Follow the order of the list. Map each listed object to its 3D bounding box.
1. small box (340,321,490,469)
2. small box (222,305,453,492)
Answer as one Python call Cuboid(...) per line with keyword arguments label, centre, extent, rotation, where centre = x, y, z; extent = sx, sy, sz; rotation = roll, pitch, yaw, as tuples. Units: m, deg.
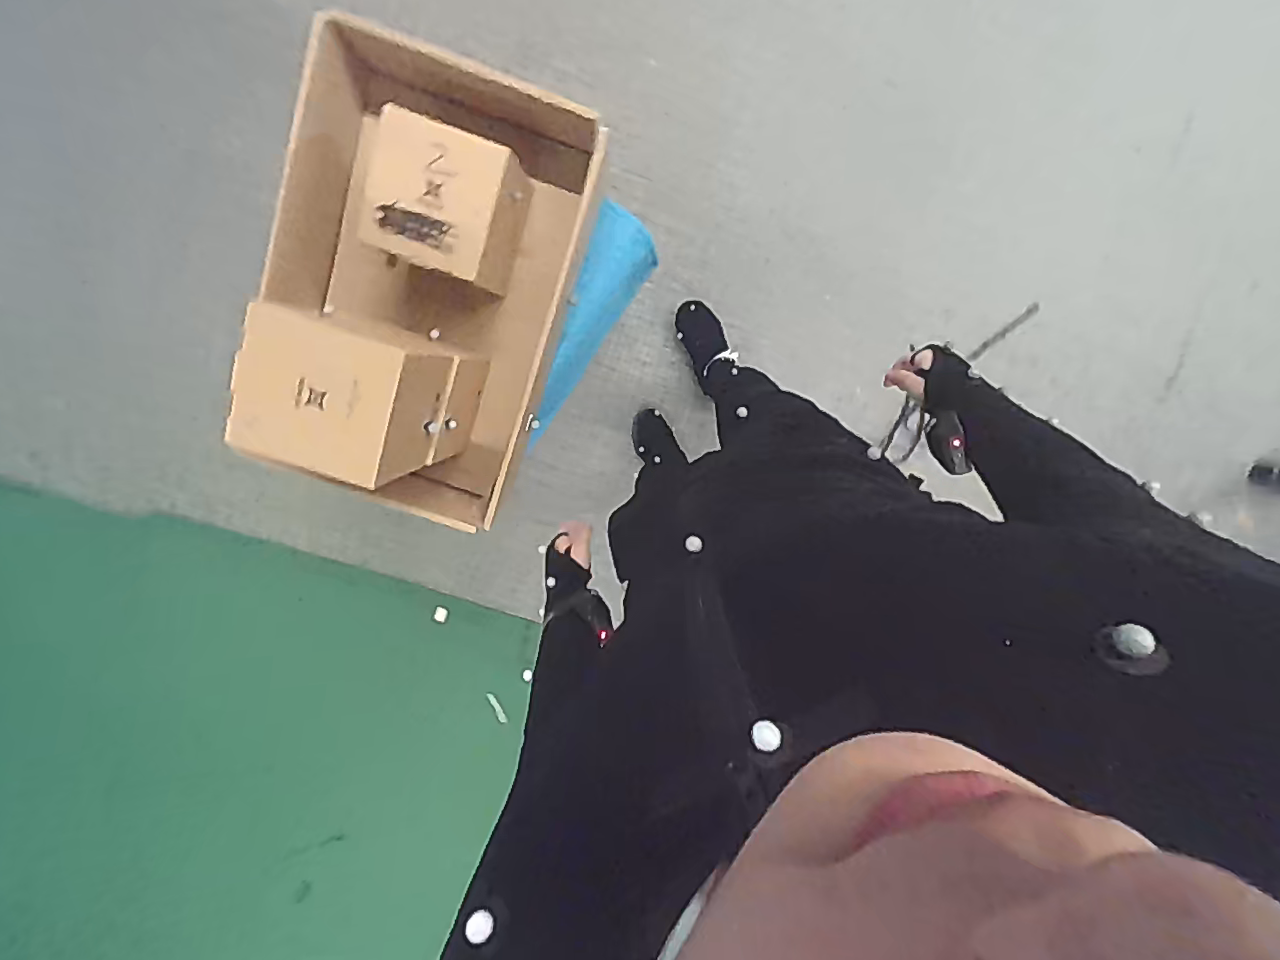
Cuboid(label="small box", centre=(-0.357, -0.130, 0.840), extent=(0.179, 0.176, 0.168), rotation=(19, 100, -3))
Cuboid(label="small box", centre=(-0.364, -0.100, 0.679), extent=(0.179, 0.176, 0.168), rotation=(18, 100, -3))
